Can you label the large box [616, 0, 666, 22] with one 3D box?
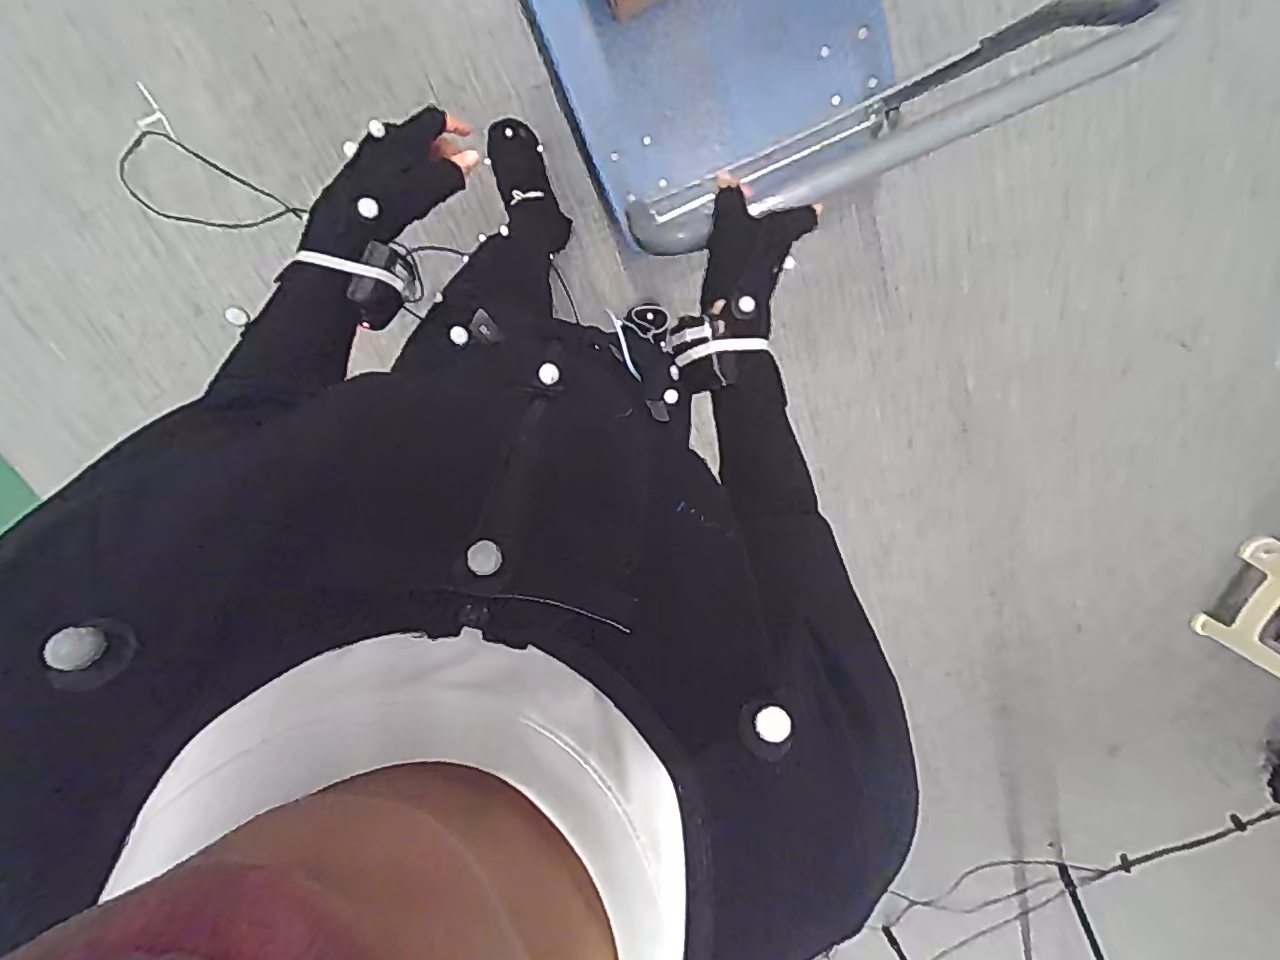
[{"bbox_3d":[0.085,-0.960,0.750,0.408,0.320,0.320,-22,112,12],"label":"large box"}]
